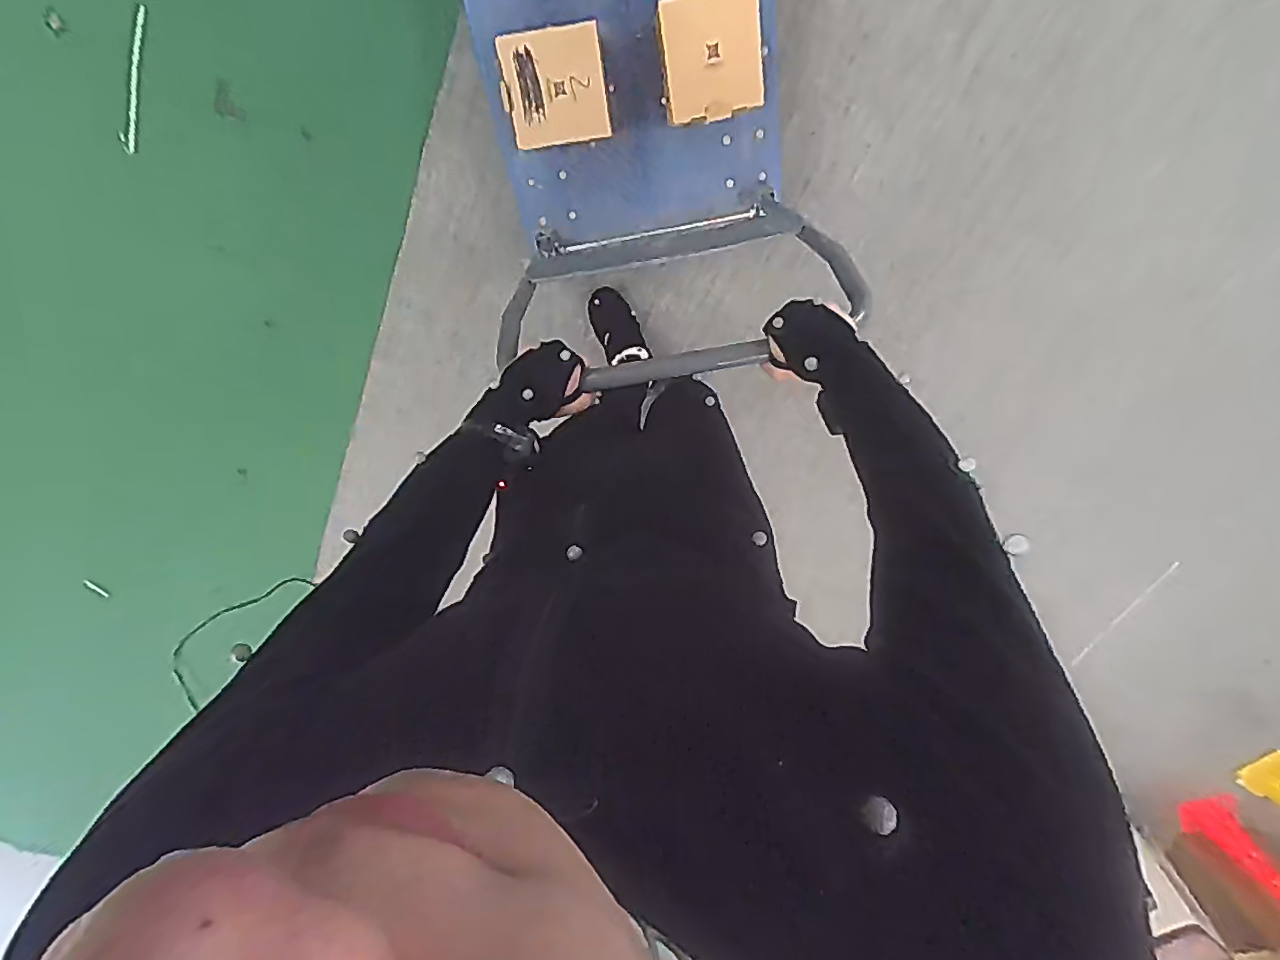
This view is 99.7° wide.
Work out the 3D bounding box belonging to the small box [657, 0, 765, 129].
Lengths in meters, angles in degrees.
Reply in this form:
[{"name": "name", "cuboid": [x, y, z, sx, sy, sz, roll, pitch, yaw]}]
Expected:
[{"name": "small box", "cuboid": [0.125, -0.759, 0.988, 0.168, 0.176, 0.179, -9, 123, 5]}]
